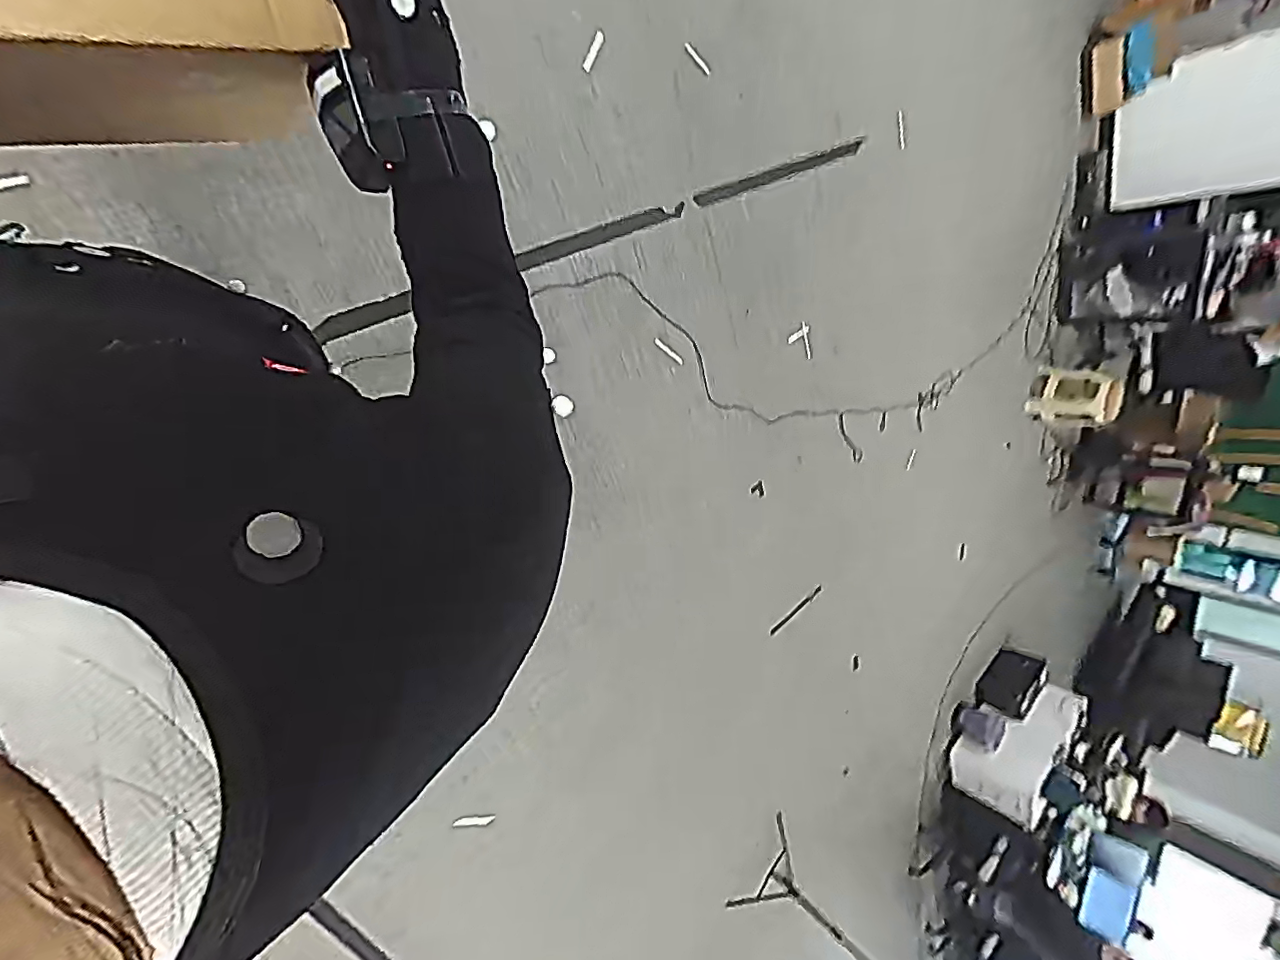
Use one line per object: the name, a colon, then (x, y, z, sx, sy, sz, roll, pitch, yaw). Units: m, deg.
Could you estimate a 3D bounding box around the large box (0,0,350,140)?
large box: (-0.441, -0.374, 0.274, 0.408, 0.320, 0.320, -25, 123, -32)
